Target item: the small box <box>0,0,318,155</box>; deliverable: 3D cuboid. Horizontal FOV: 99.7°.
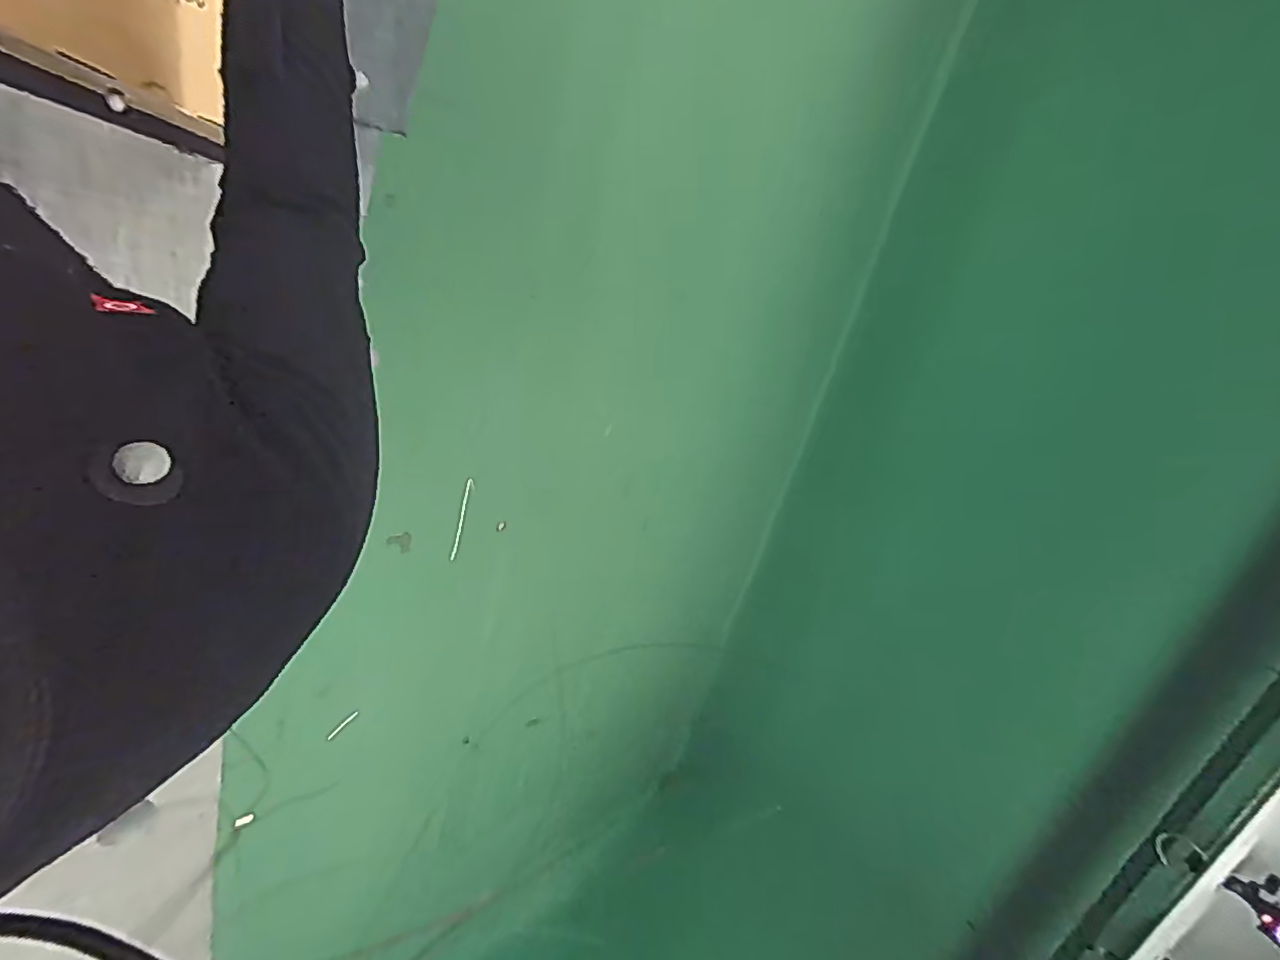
[{"bbox_3d":[-0.375,-0.390,0.421,0.168,0.176,0.179,5,112,-51],"label":"small box"}]
